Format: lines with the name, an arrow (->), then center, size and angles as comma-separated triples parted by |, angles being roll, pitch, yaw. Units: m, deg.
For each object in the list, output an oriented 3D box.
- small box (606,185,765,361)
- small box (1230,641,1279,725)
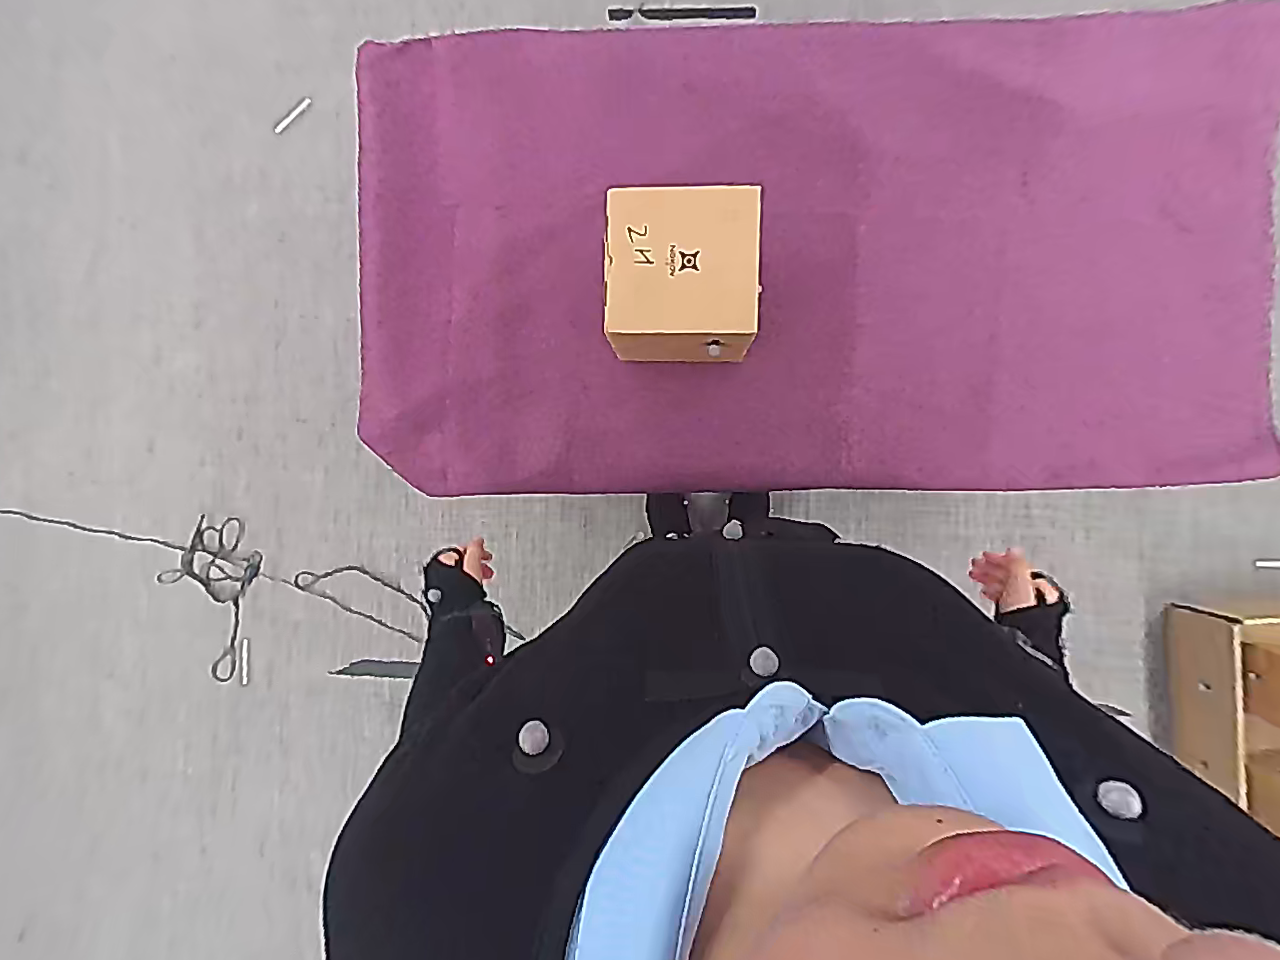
small box -> 0.055, -0.249, 0.686 | 0.179, 0.176, 0.168 | 1, 91, 5
small box -> 1.570, 0.492, 1.267 | 0.179, 0.176, 0.168 | 6, 94, 4
